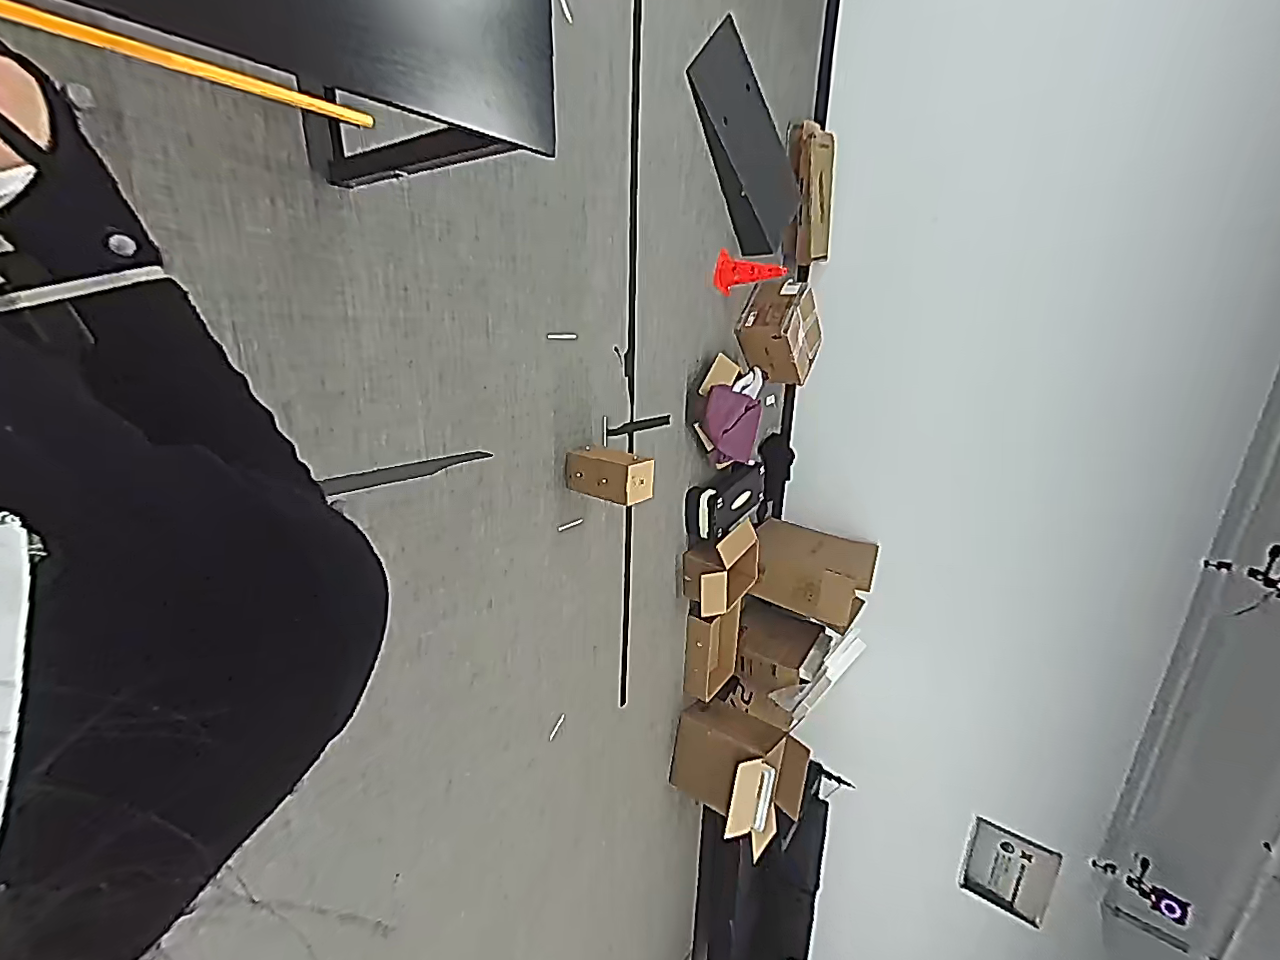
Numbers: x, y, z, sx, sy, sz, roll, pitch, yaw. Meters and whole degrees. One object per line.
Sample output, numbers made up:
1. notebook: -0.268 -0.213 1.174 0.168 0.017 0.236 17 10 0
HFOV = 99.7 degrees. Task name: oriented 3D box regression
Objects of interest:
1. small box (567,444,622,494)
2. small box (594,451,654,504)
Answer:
1. small box: -0.194 -0.050 2.289 0.179 0.176 0.168 -19 117 -50
2. small box: -0.065 -0.017 2.189 0.179 0.176 0.168 -17 115 -51
